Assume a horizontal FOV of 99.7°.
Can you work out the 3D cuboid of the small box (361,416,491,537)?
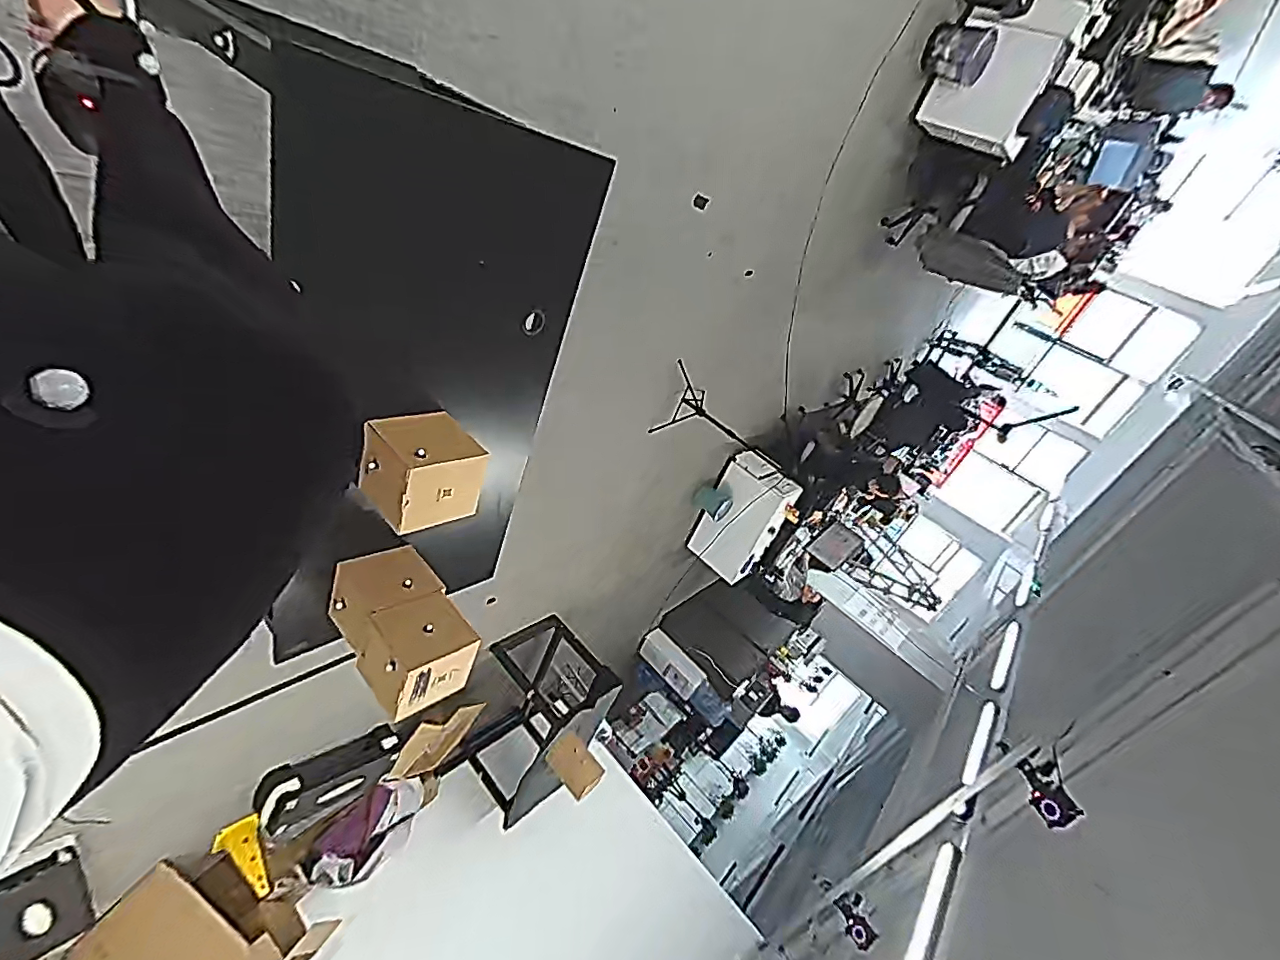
[{"bbox_3d":[-0.439,-0.017,1.106,0.179,0.176,0.168,-18,140,-48],"label":"small box"}]

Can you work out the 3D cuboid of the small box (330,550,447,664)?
[{"bbox_3d":[-0.588,0.286,1.263,0.179,0.176,0.168,-13,135,-52],"label":"small box"}]
